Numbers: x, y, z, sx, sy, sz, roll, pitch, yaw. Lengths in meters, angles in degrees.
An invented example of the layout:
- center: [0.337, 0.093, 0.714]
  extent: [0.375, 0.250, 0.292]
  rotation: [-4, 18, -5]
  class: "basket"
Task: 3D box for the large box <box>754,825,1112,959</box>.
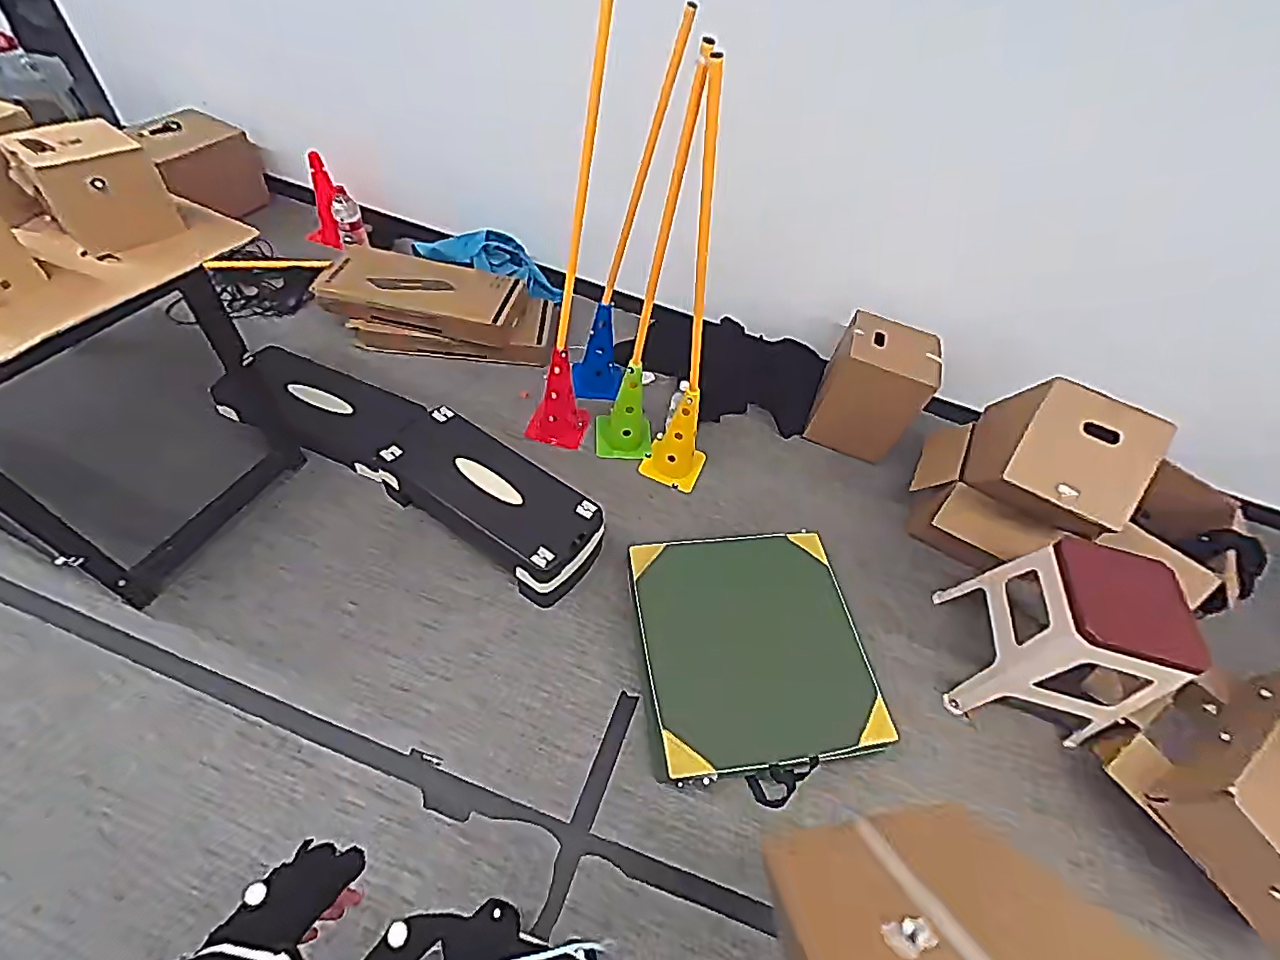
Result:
- center: [0.348, 0.668, 0.612]
  extent: [0.320, 0.408, 0.320]
  rotation: [-10, 80, -2]
  class: "large box"
